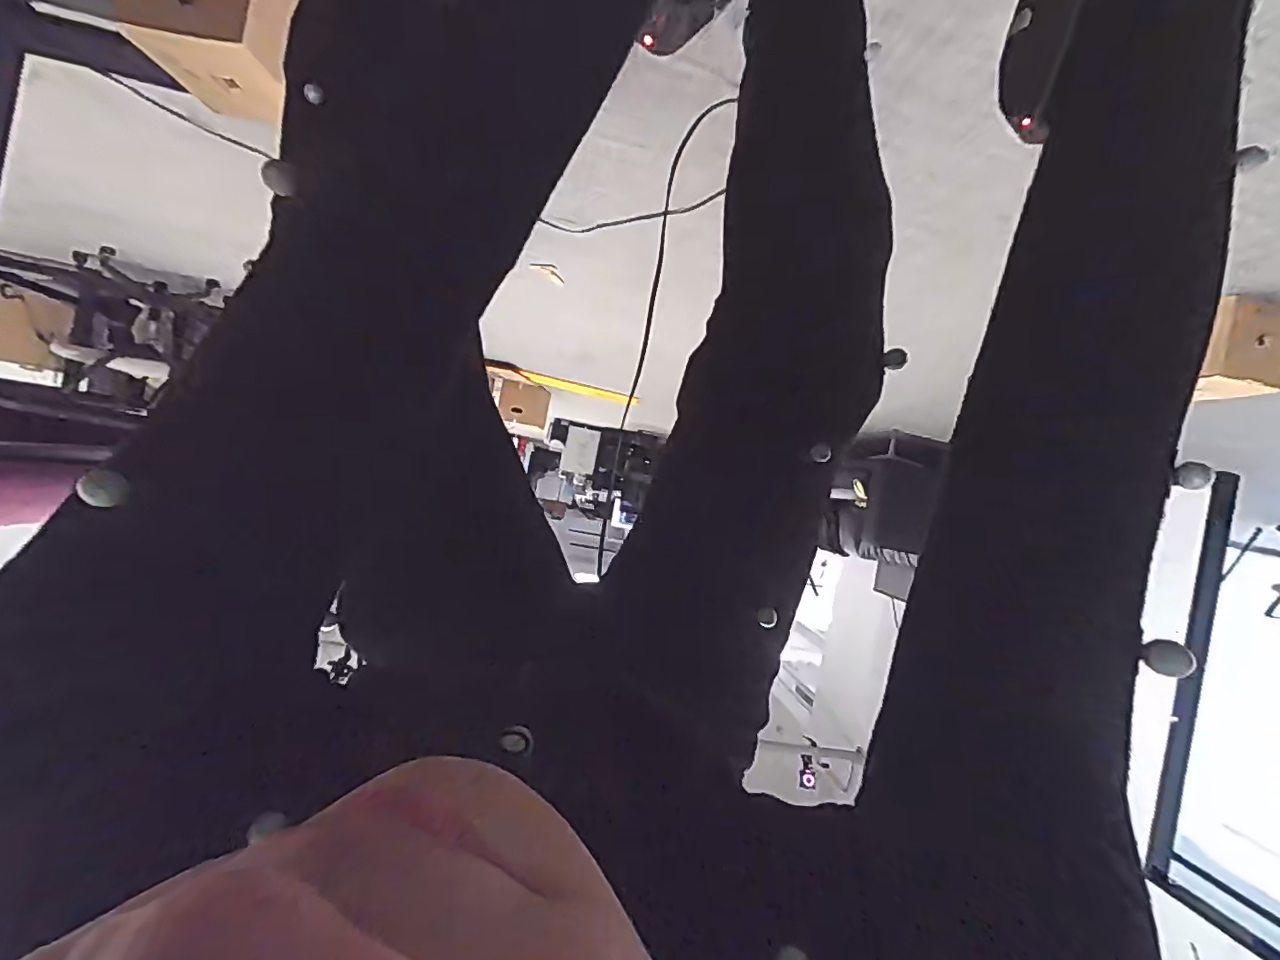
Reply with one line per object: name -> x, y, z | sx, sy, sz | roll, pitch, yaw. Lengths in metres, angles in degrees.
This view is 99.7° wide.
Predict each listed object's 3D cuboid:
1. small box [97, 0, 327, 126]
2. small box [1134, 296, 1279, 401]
small box -> -0.541, -0.613, 0.711 | 0.179, 0.176, 0.168 | 11, 180, 0
small box -> 1.229, -0.279, 1.164 | 0.168, 0.176, 0.179 | 11, 179, -9
